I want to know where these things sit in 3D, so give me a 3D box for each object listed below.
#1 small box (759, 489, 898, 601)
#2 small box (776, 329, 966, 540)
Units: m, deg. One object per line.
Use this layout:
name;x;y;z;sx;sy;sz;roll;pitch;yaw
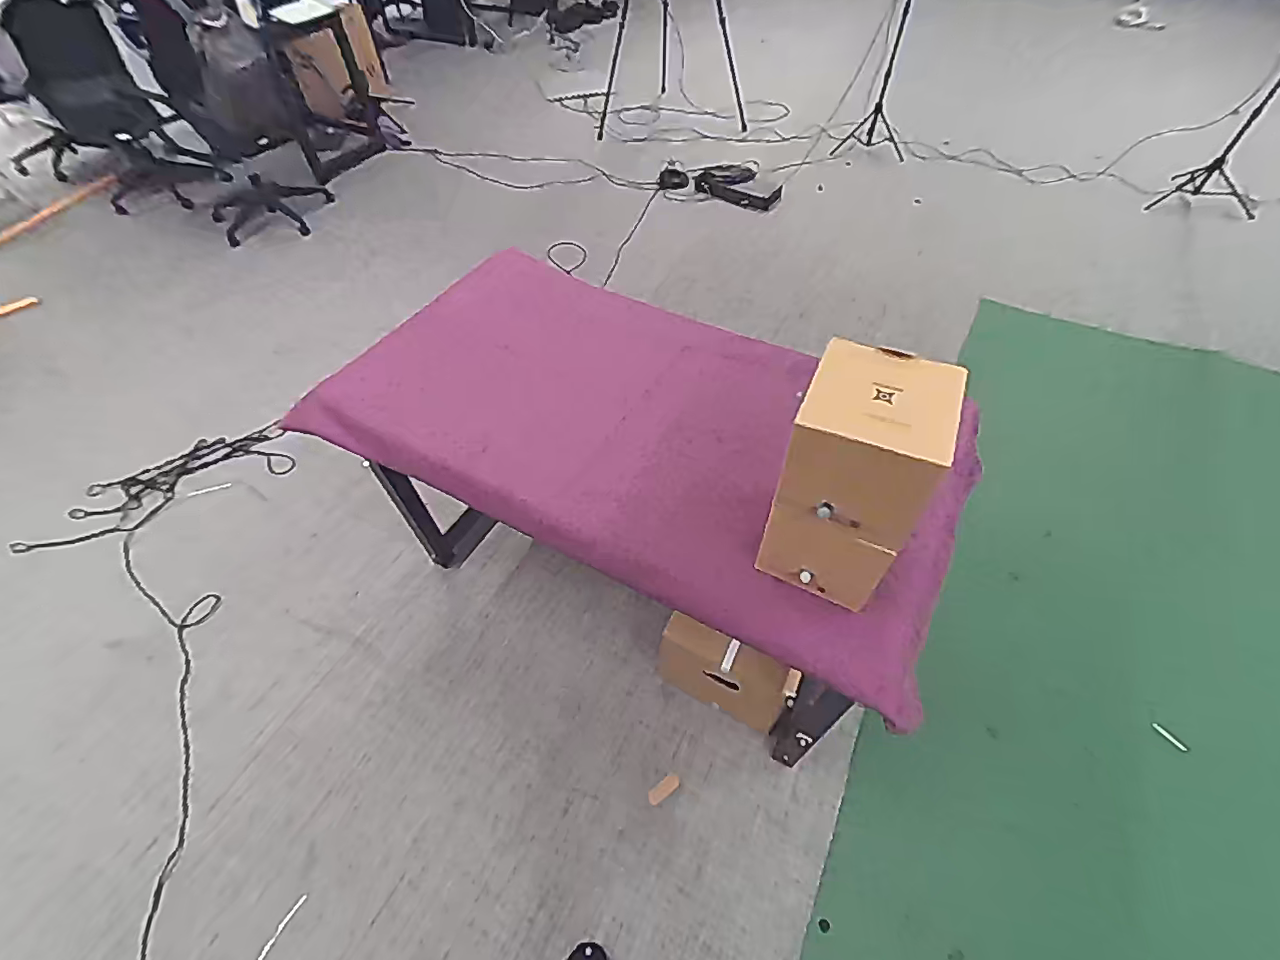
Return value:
small box;0.291;0.047;0.813;0.168;0.176;0.179;23;56;19
small box;0.284;-0.057;0.688;0.168;0.176;0.179;20;55;18
